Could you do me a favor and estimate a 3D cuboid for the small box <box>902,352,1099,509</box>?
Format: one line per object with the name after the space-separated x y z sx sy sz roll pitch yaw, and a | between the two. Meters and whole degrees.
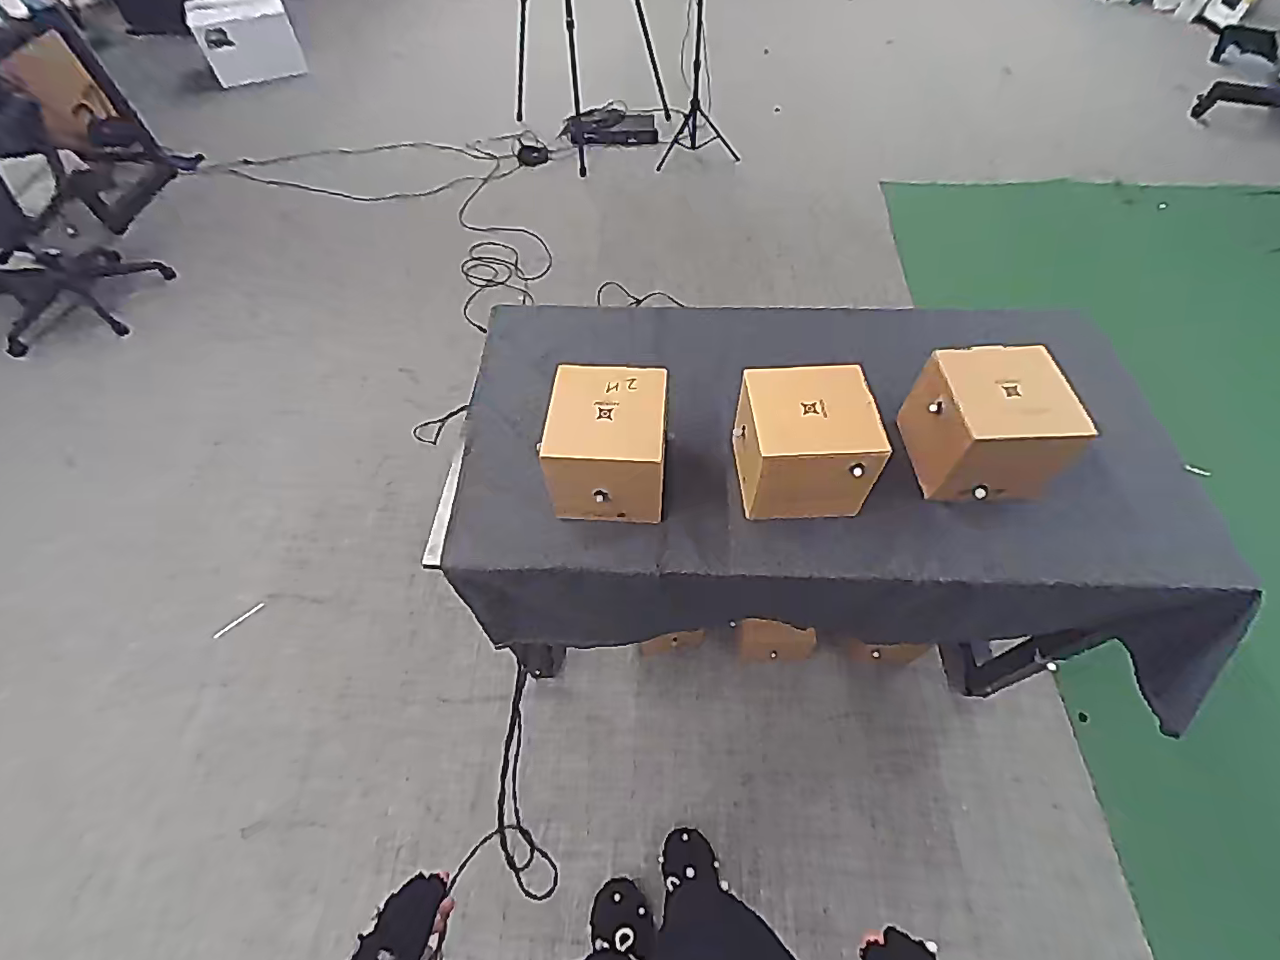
0.526 -0.073 0.824 0.168 0.176 0.179 -1 56 2 | small box

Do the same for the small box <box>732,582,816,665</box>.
0.340 0.375 1.404 0.179 0.176 0.168 -1 56 3 | small box

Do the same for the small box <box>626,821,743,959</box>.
0.093 0.856 1.094 0.168 0.176 0.179 13 28 43 | small box

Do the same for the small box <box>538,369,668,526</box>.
-0.045 -0.045 0.821 0.168 0.176 0.179 3 56 3 | small box

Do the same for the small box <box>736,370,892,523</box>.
0.244 -0.045 0.816 0.179 0.176 0.168 -2 56 0 | small box
